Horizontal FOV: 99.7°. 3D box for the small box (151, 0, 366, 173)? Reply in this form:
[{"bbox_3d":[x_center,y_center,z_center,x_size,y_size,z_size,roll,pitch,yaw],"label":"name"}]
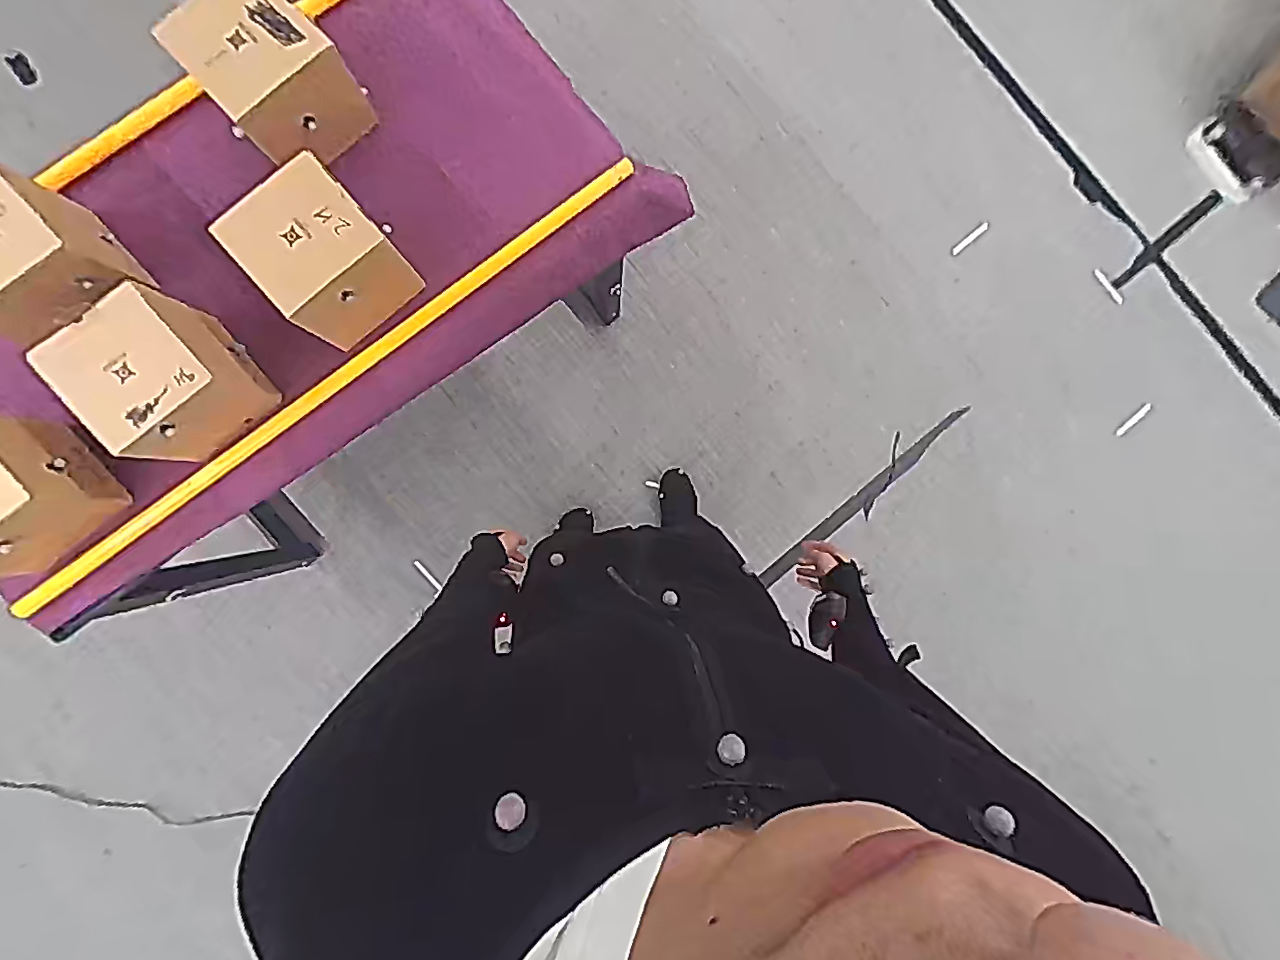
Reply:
[{"bbox_3d":[-0.549,-0.594,0.815,0.179,0.176,0.168,-43,92,-3],"label":"small box"}]

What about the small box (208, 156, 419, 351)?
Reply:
[{"bbox_3d":[-0.471,-0.323,0.812,0.179,0.176,0.168,-41,90,-4],"label":"small box"}]

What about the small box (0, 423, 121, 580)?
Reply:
[{"bbox_3d":[-0.913,0.029,0.773,0.179,0.176,0.168,-42,91,-5],"label":"small box"}]

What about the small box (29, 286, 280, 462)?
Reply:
[{"bbox_3d":[-0.691,-0.141,0.793,0.168,0.176,0.179,-40,91,-3],"label":"small box"}]
